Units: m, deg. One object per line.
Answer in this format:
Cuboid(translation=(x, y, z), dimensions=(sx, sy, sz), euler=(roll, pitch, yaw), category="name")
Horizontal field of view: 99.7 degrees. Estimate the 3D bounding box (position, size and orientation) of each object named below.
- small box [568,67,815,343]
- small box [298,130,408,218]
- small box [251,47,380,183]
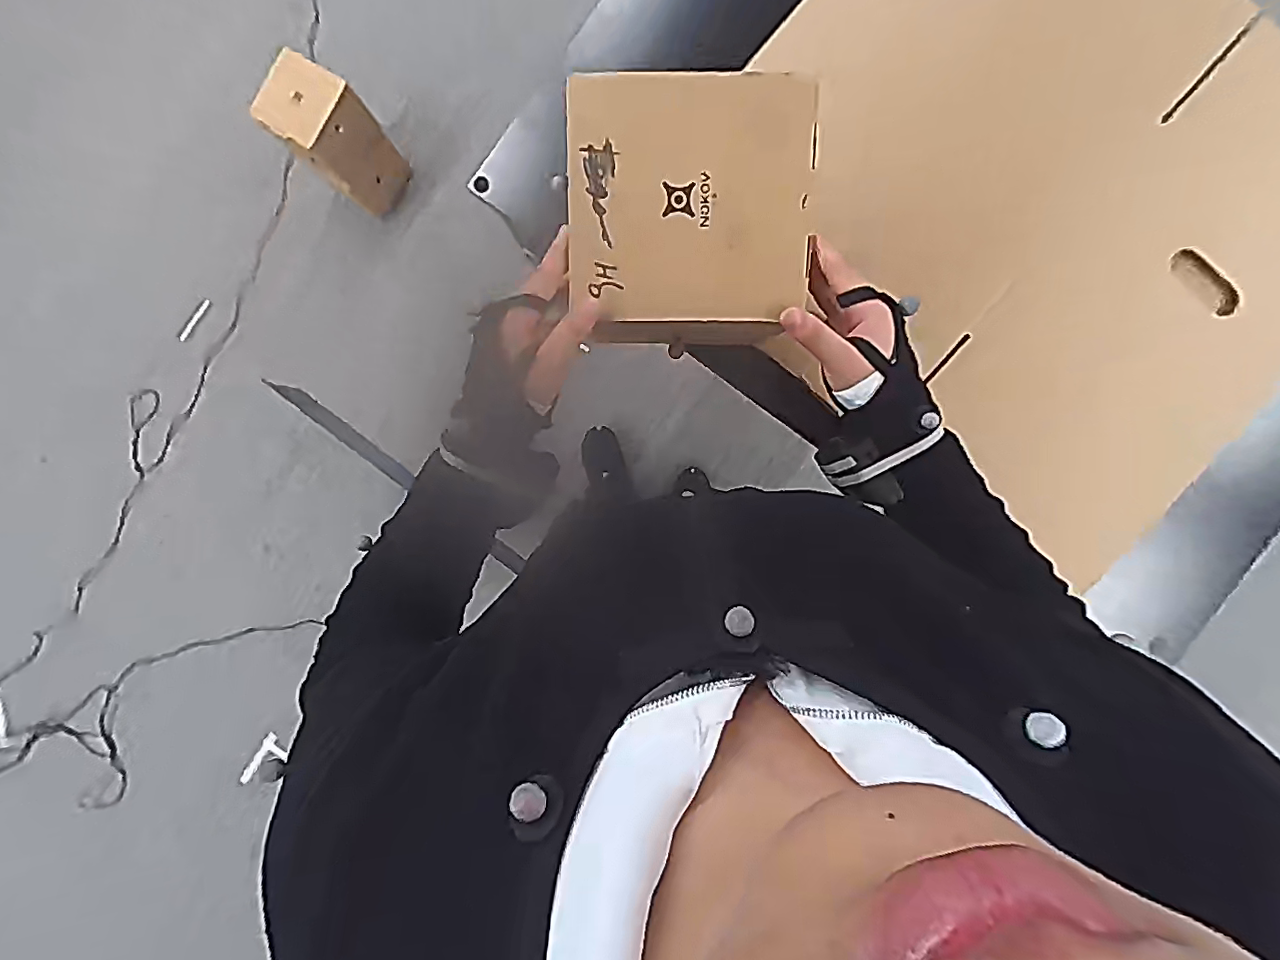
Cuboid(translation=(0.032, -0.212, 0.464), dimensions=(0.179, 0.176, 0.168), euler=(0, 97, -2), category="small box")
Cuboid(translation=(-0.756, -0.850, 1.451), dimensions=(0.168, 0.176, 0.179), euler=(33, 92, 2), category="small box")
Cuboid(translation=(-0.759, -0.854, 1.288), dimensions=(0.168, 0.176, 0.179), euler=(30, 91, 1), category="small box")
